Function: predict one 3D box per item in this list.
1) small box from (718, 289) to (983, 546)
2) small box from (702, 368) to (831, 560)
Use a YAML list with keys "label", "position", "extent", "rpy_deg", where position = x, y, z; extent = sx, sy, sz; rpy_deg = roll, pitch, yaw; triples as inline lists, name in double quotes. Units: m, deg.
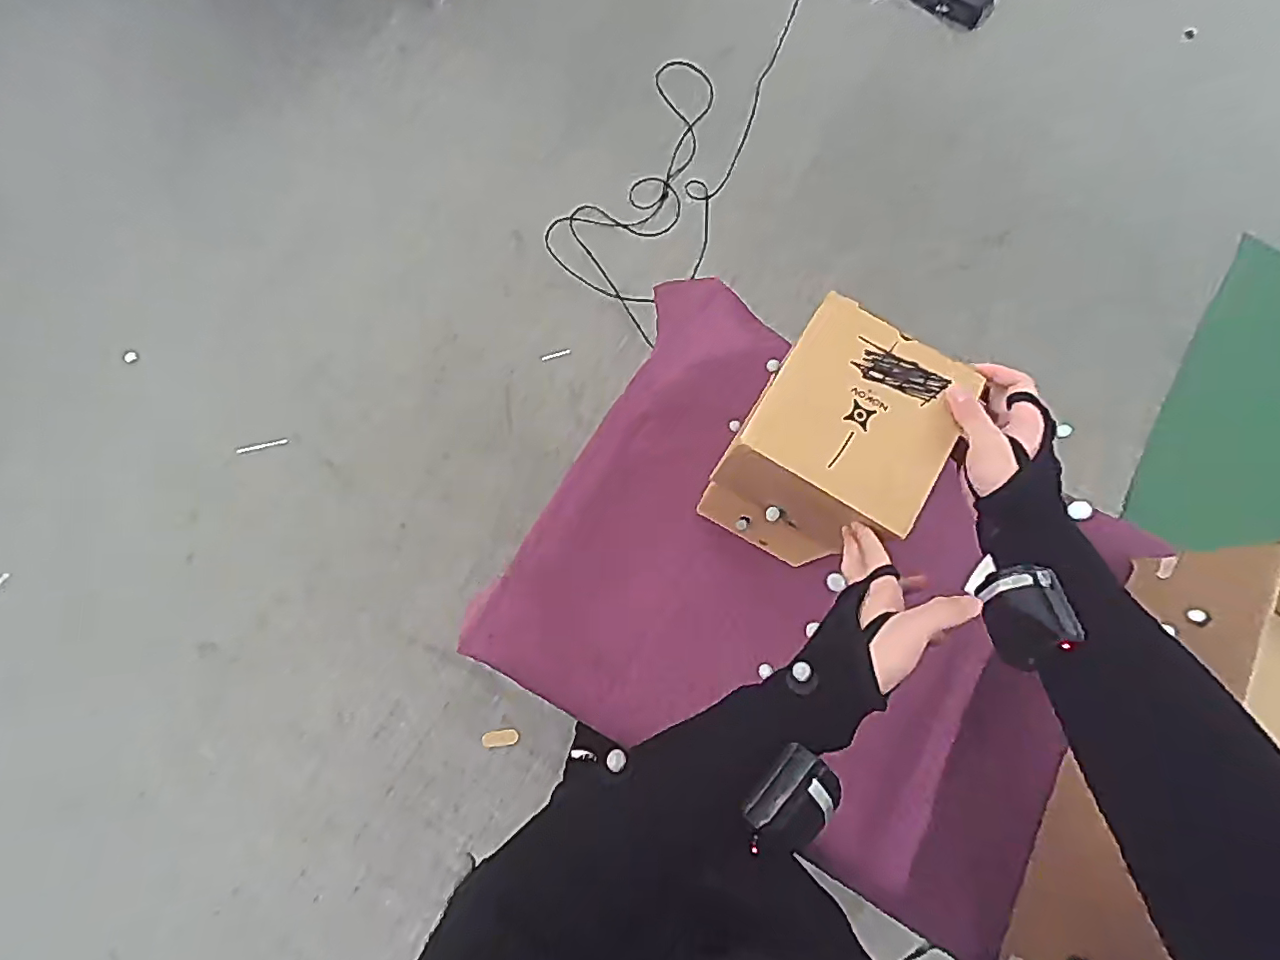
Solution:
- label: "small box"
  position: [0.197, -0.050, 0.559]
  extent: [0.168, 0.176, 0.179]
  rpy_deg: [32, 79, 6]
- label: "small box"
  position: [0.195, -0.010, 0.728]
  extent: [0.168, 0.176, 0.179]
  rpy_deg: [29, 75, 7]
